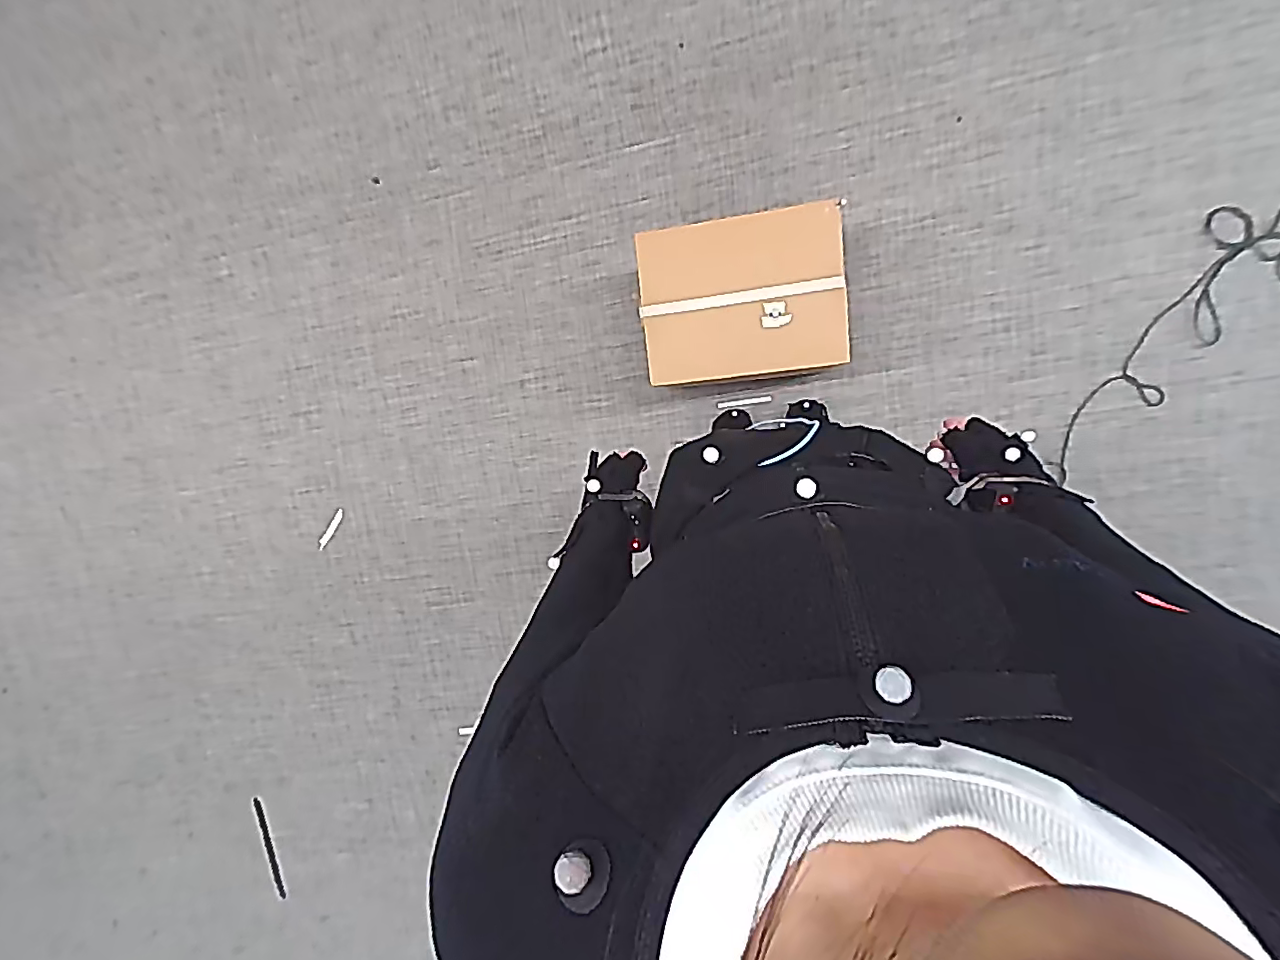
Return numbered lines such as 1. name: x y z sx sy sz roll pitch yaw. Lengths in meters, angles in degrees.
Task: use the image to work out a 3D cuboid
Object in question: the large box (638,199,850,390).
1. large box: 0.231 -0.391 1.239 0.408 0.320 0.320 -5 98 11
